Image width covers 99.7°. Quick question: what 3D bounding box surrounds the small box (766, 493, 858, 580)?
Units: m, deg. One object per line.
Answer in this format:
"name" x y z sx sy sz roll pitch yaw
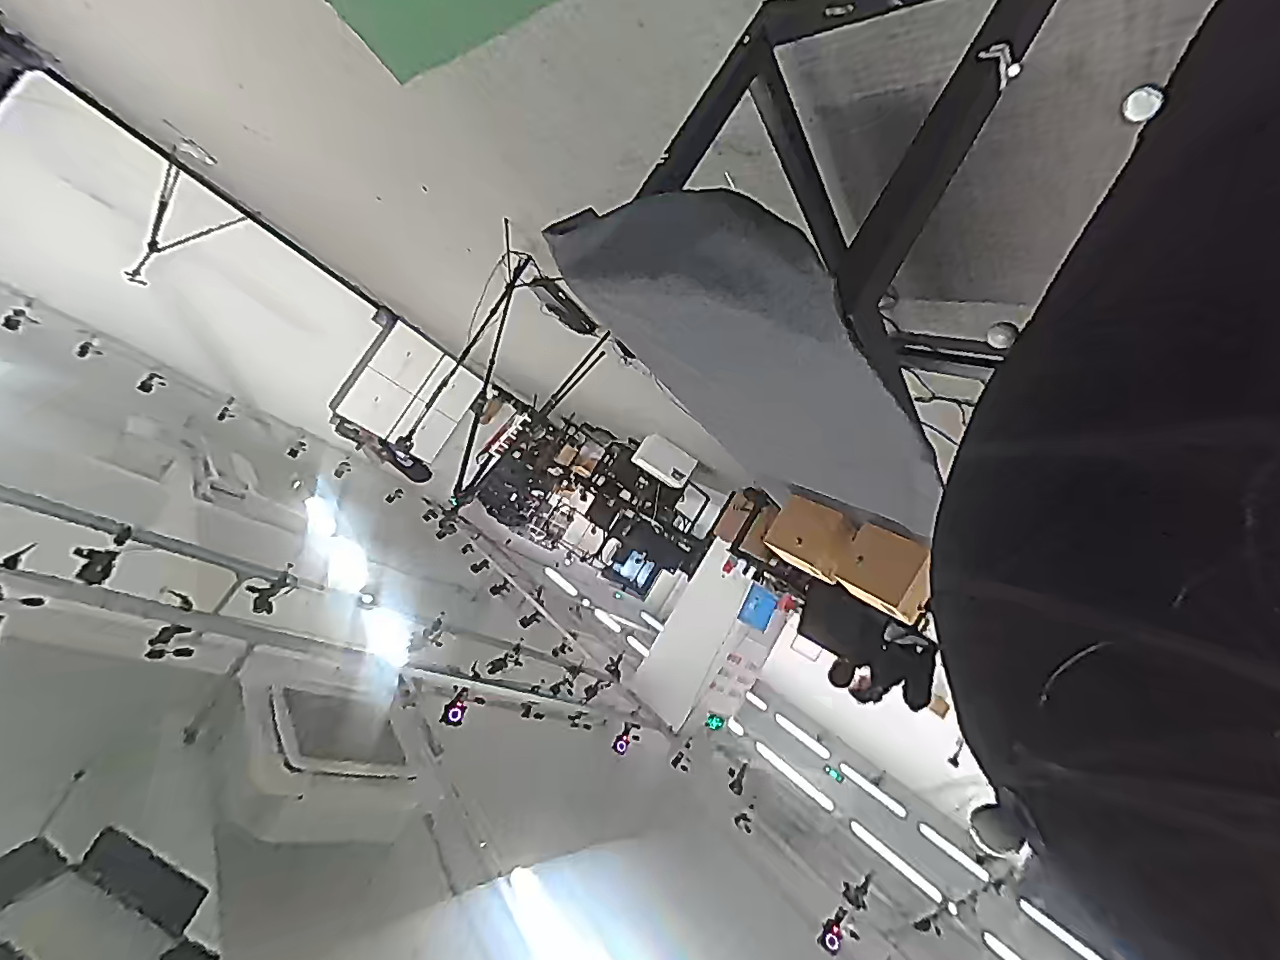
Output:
"small box" 0.501 0.158 1.551 0.179 0.176 0.168 27 172 46
